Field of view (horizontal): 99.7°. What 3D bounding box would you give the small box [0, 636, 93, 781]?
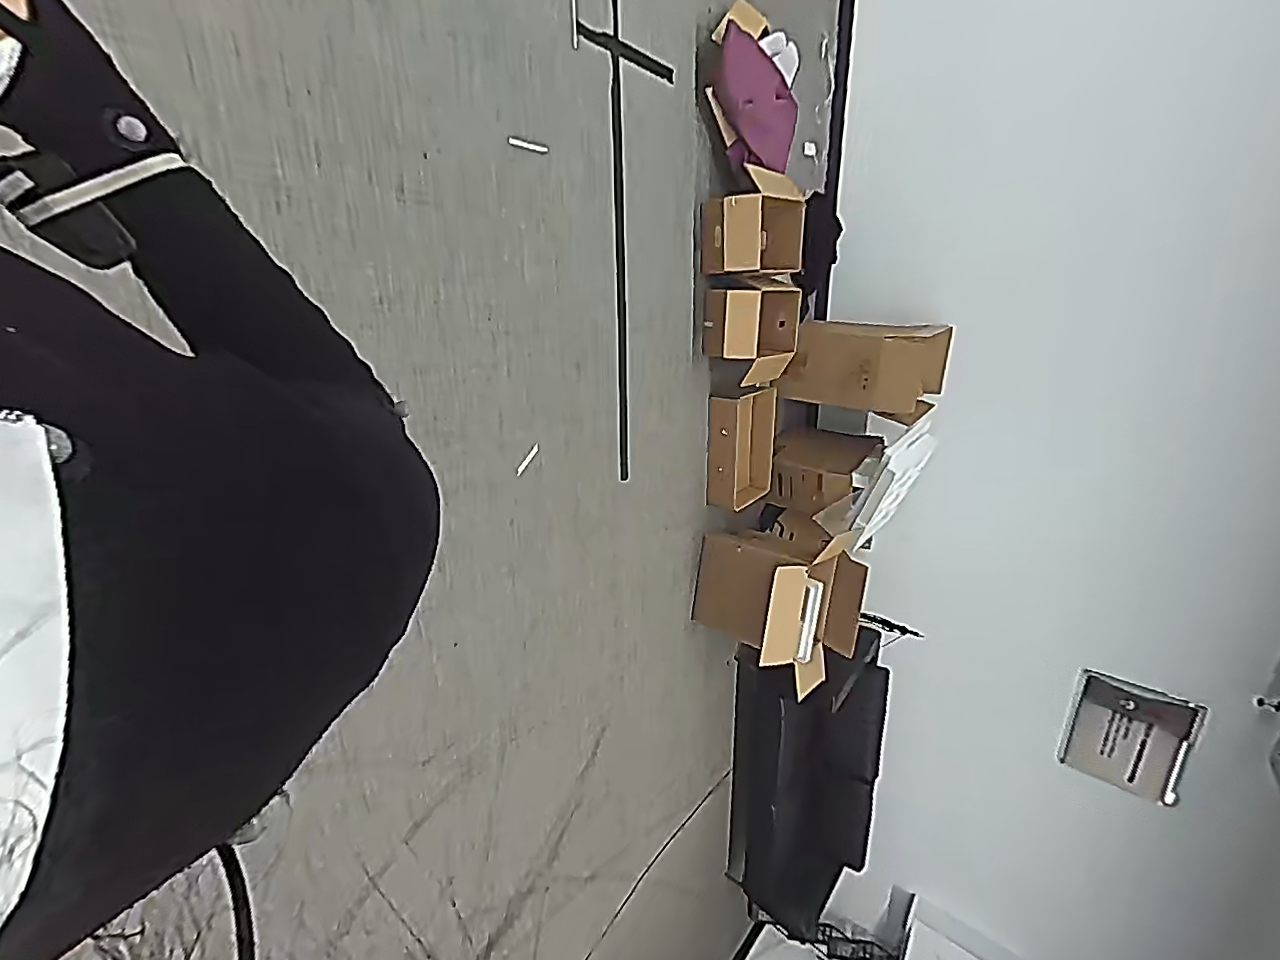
[{"bbox_3d":[-1.096,0.392,0.936,0.168,0.176,0.179,-19,115,-46],"label":"small box"}]
